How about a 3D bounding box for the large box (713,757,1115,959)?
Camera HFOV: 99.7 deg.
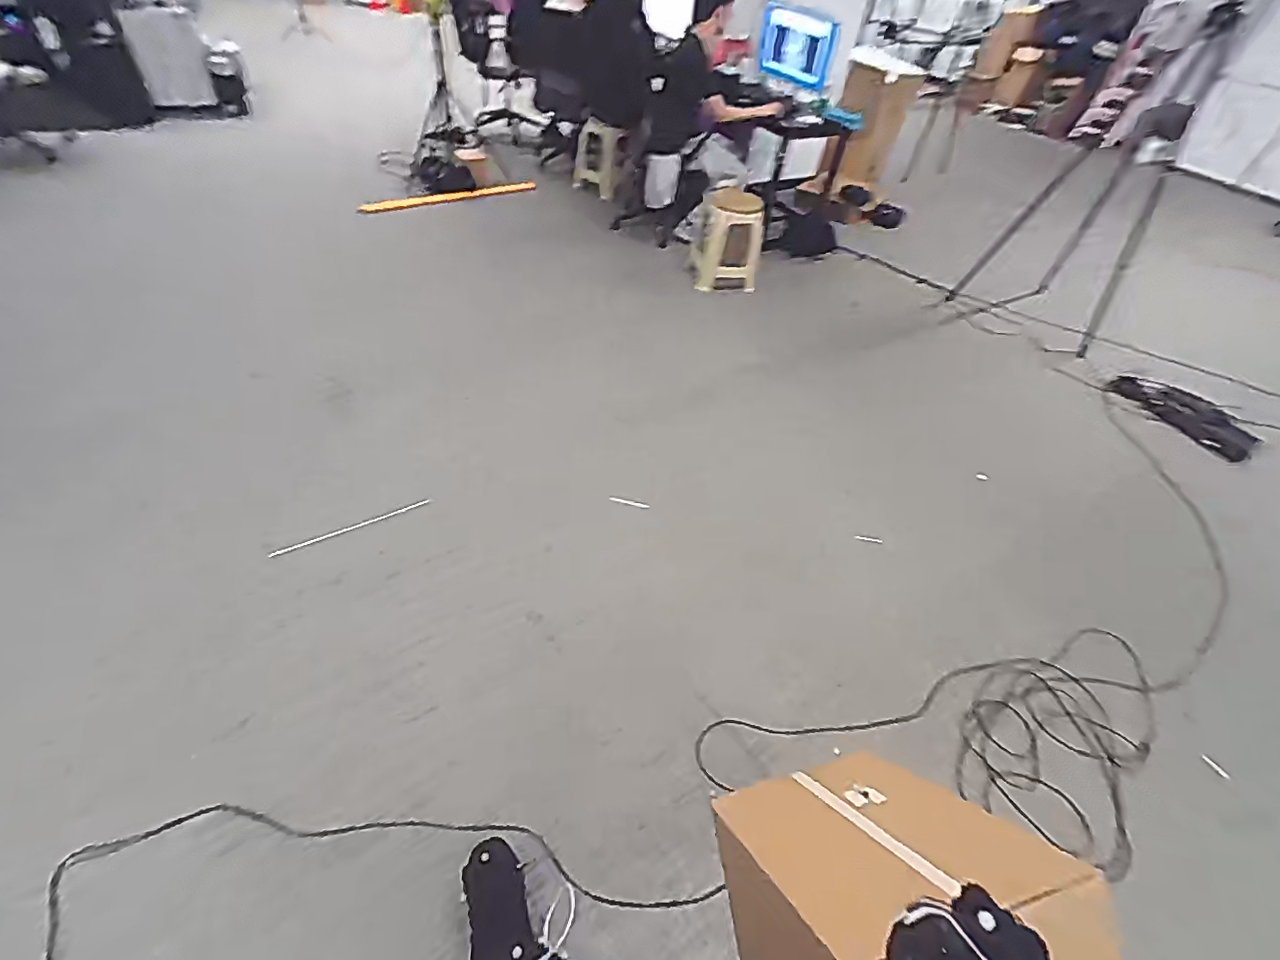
[{"bbox_3d":[0.336,0.629,0.720,0.320,0.408,0.320,-8,81,-13],"label":"large box"}]
